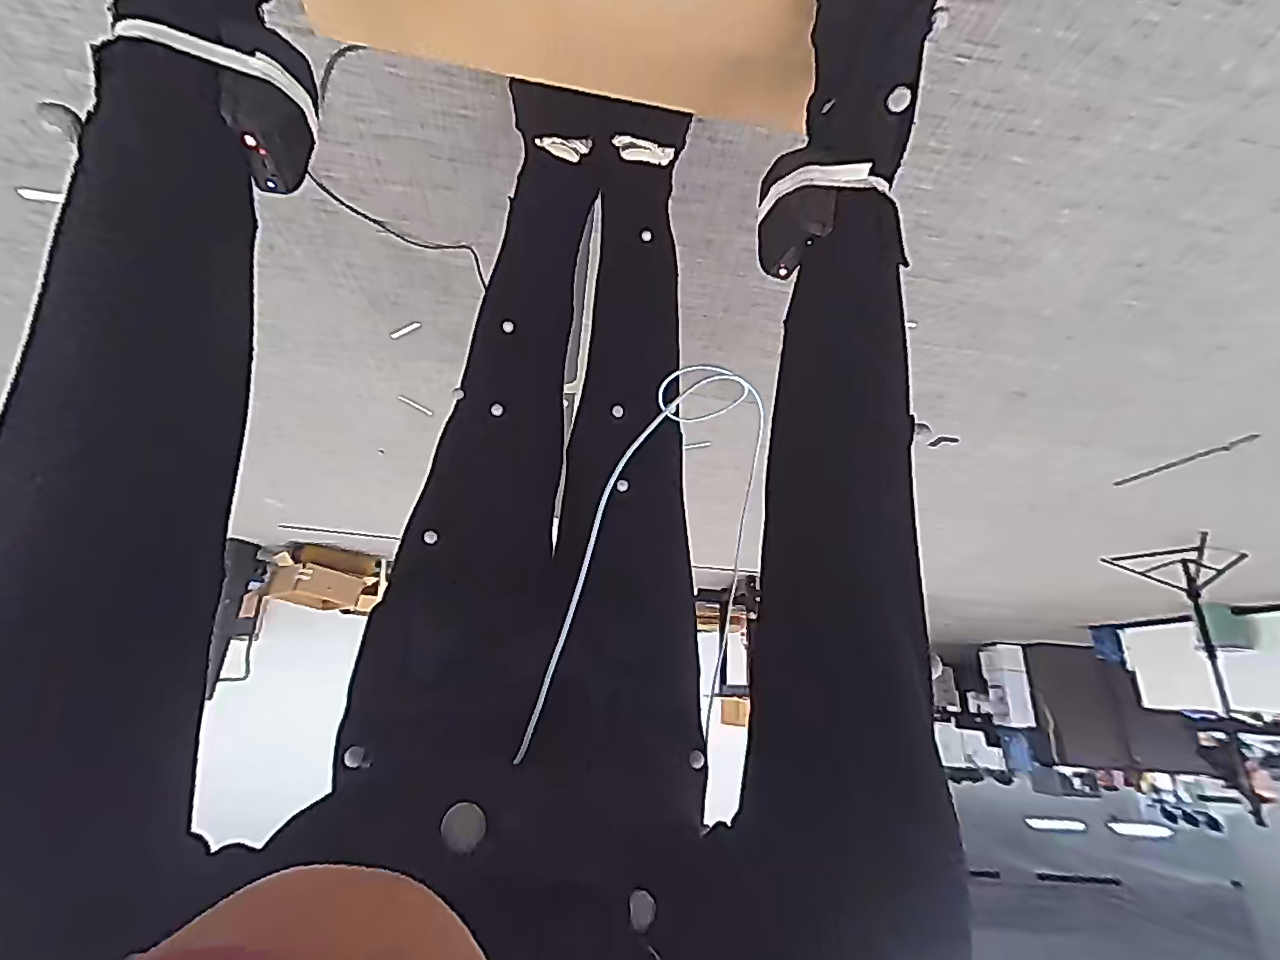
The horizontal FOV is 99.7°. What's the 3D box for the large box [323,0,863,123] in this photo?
[{"bbox_3d":[-0.020,-0.524,0.369,0.408,0.320,0.320,6,159,-6],"label":"large box"}]
